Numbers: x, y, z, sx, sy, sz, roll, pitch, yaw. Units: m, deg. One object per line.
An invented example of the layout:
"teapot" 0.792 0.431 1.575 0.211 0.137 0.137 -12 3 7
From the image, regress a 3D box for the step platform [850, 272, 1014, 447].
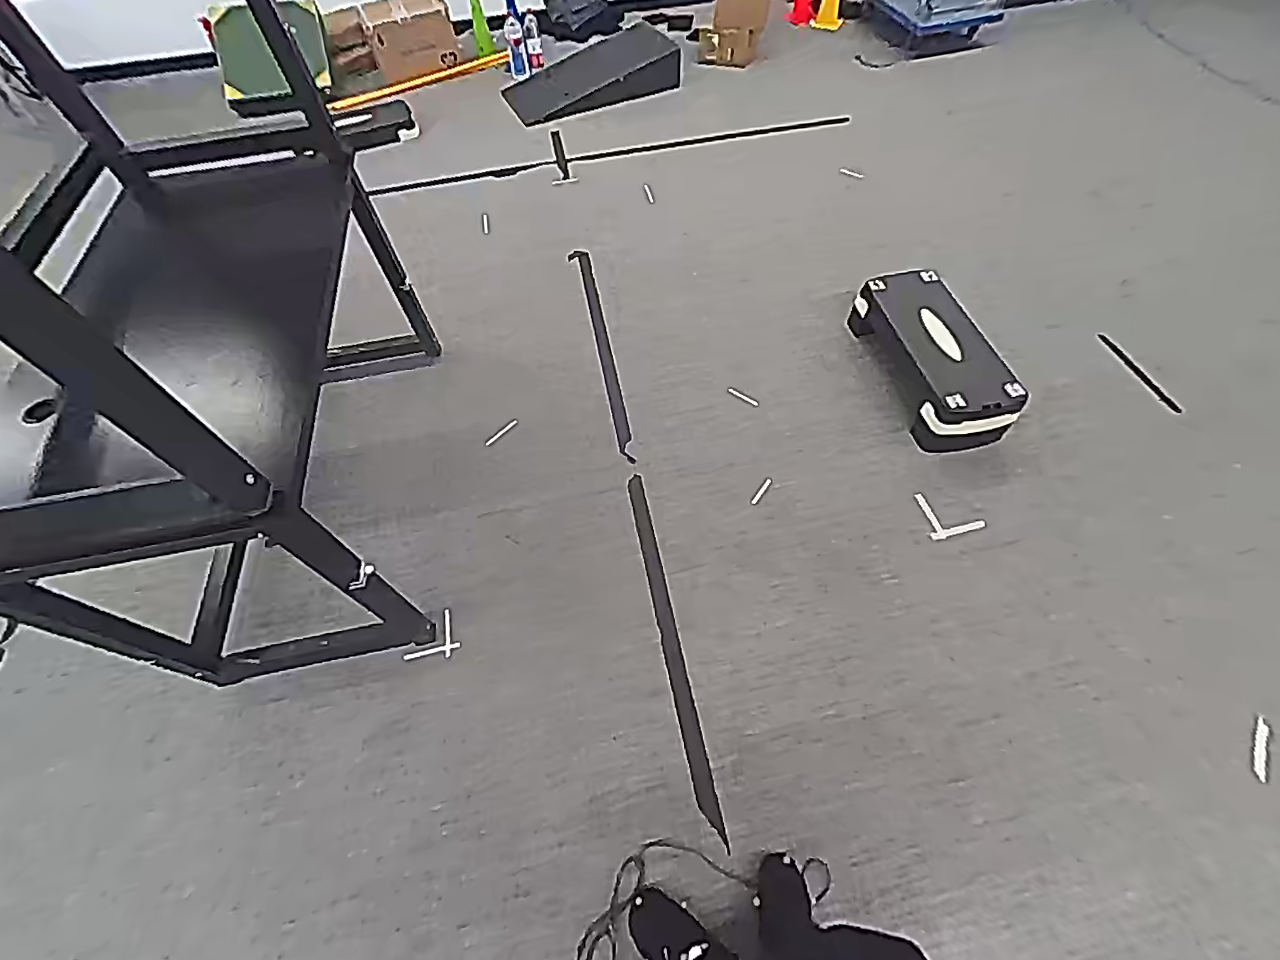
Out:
"step platform" 0.985 -0.445 1.883 0.286 0.204 0.684 -7 56 -1
